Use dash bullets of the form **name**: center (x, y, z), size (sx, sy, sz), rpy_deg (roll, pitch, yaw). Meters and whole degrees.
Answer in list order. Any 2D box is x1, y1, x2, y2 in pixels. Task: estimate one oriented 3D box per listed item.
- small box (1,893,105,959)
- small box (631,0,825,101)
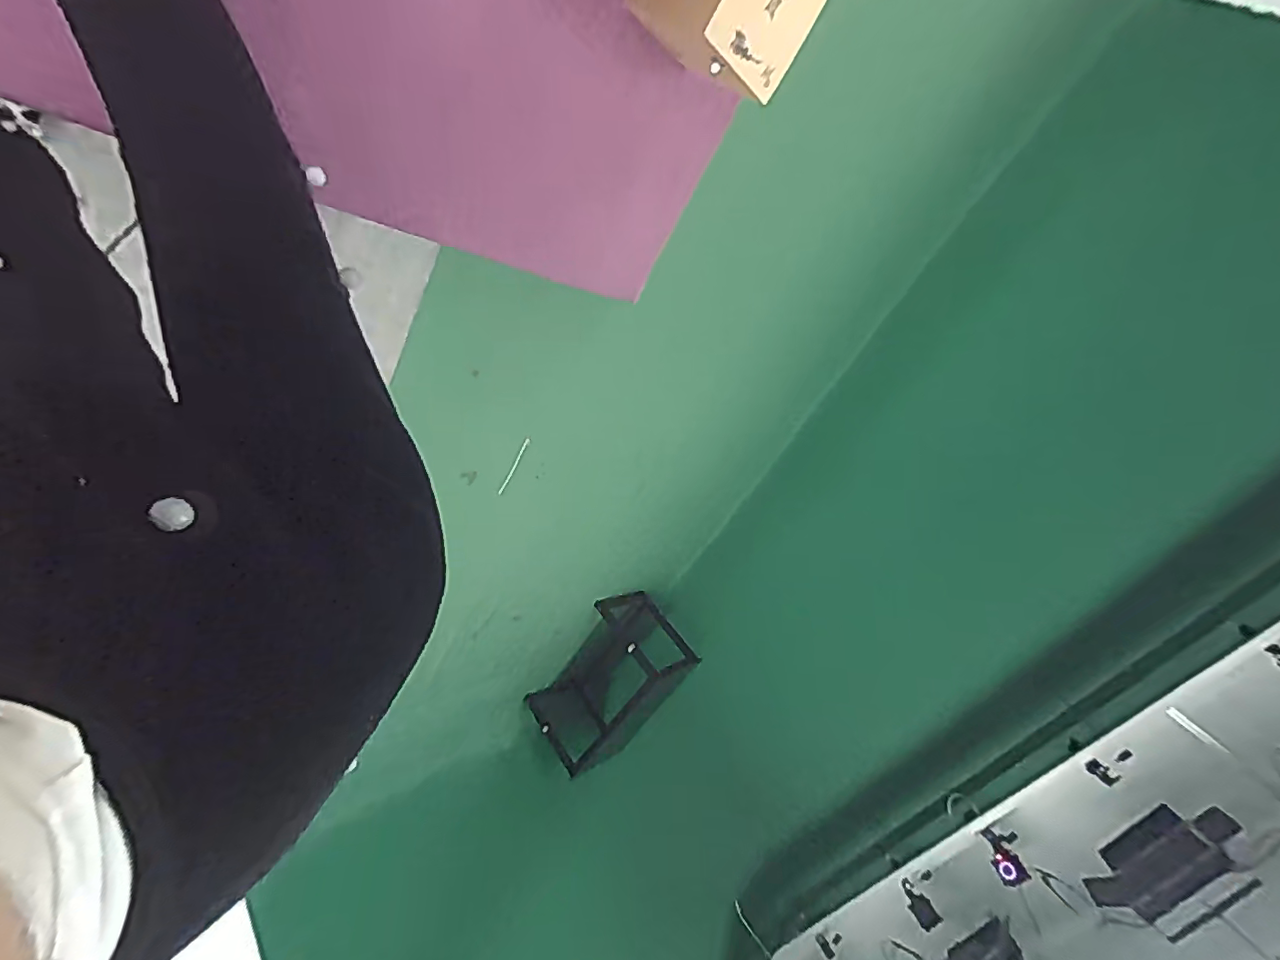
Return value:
- **small box**: center (-1.561, 1.255, 1.436), size (0.168, 0.176, 0.179), rpy_deg (3, 128, -54)
- **small box**: center (0.119, -0.638, 0.685), size (0.168, 0.176, 0.179), rpy_deg (-1, 131, -51)
